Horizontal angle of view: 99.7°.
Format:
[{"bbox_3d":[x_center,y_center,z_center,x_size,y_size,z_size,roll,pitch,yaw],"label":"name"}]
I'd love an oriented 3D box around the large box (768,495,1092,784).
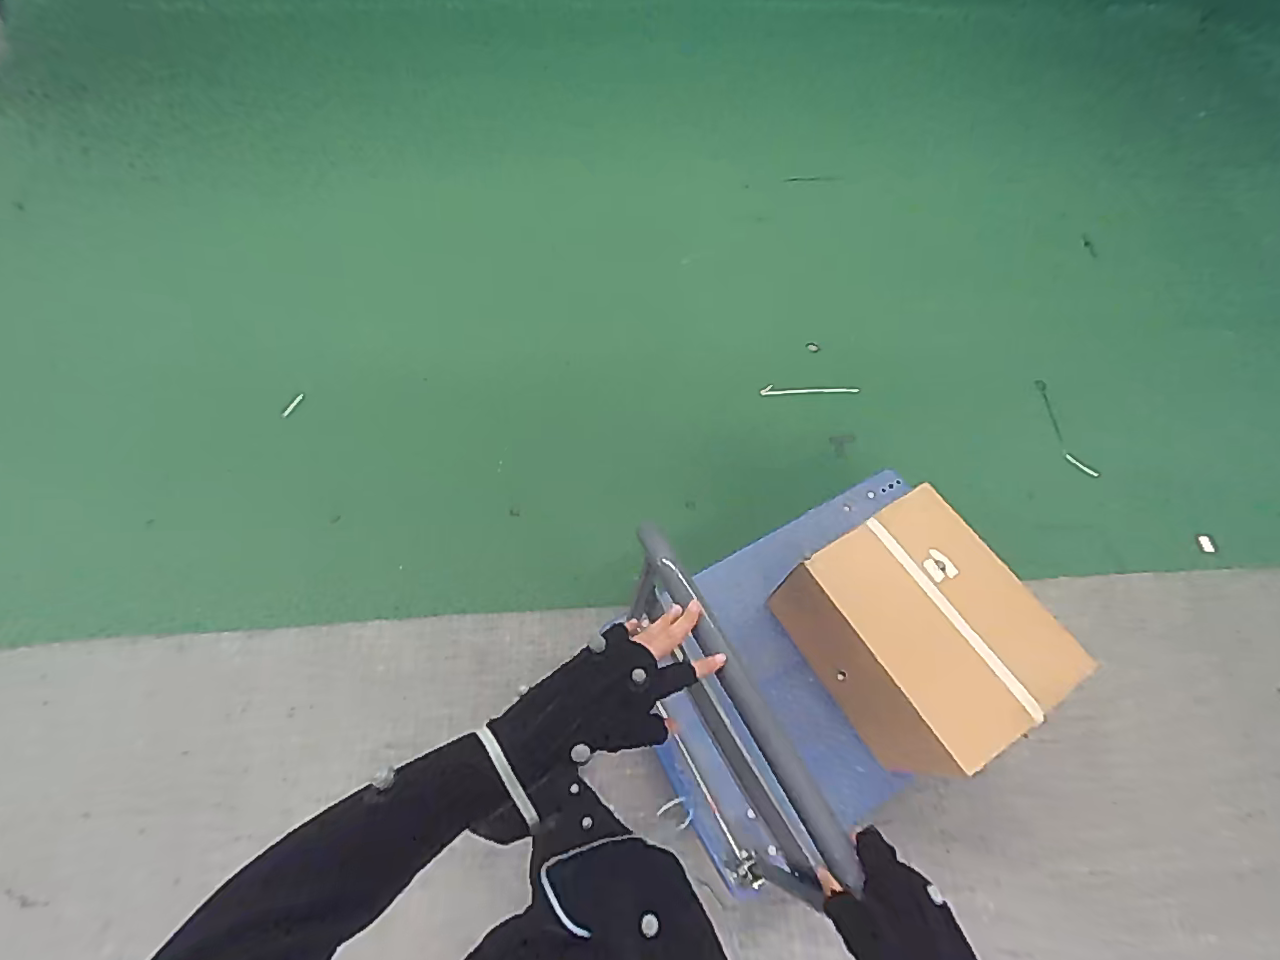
[{"bbox_3d":[0.517,0.314,1.063,0.320,0.320,0.408,-28,65,-14],"label":"large box"}]
